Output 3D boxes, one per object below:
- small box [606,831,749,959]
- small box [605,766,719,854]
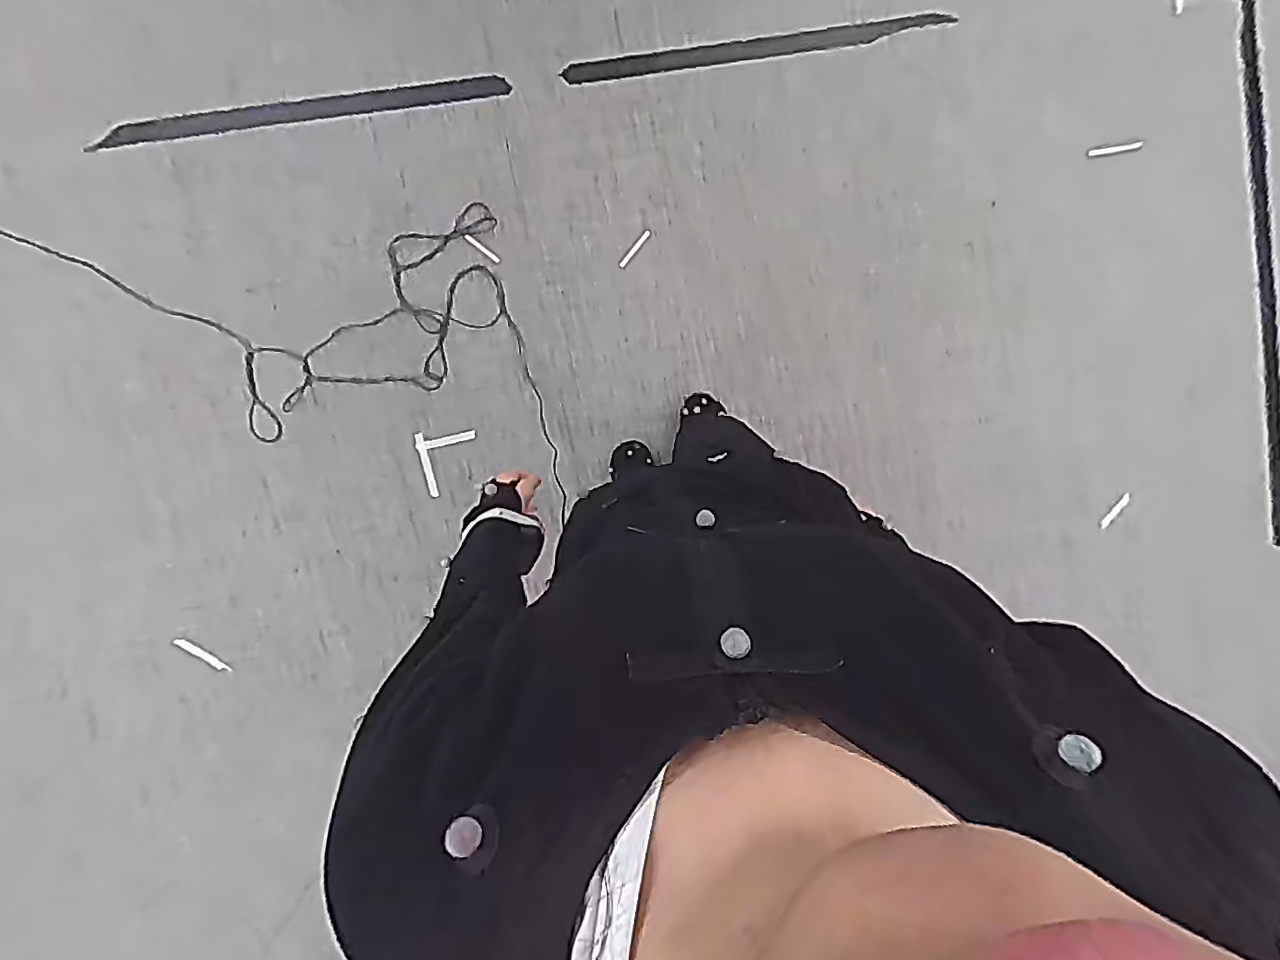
[{"bbox_3d":[0.049,0.611,0.710,0.168,0.176,0.179,-9,96,-4],"label":"small box"},{"bbox_3d":[0.035,0.591,0.874,0.168,0.176,0.179,-8,96,-3],"label":"small box"}]
